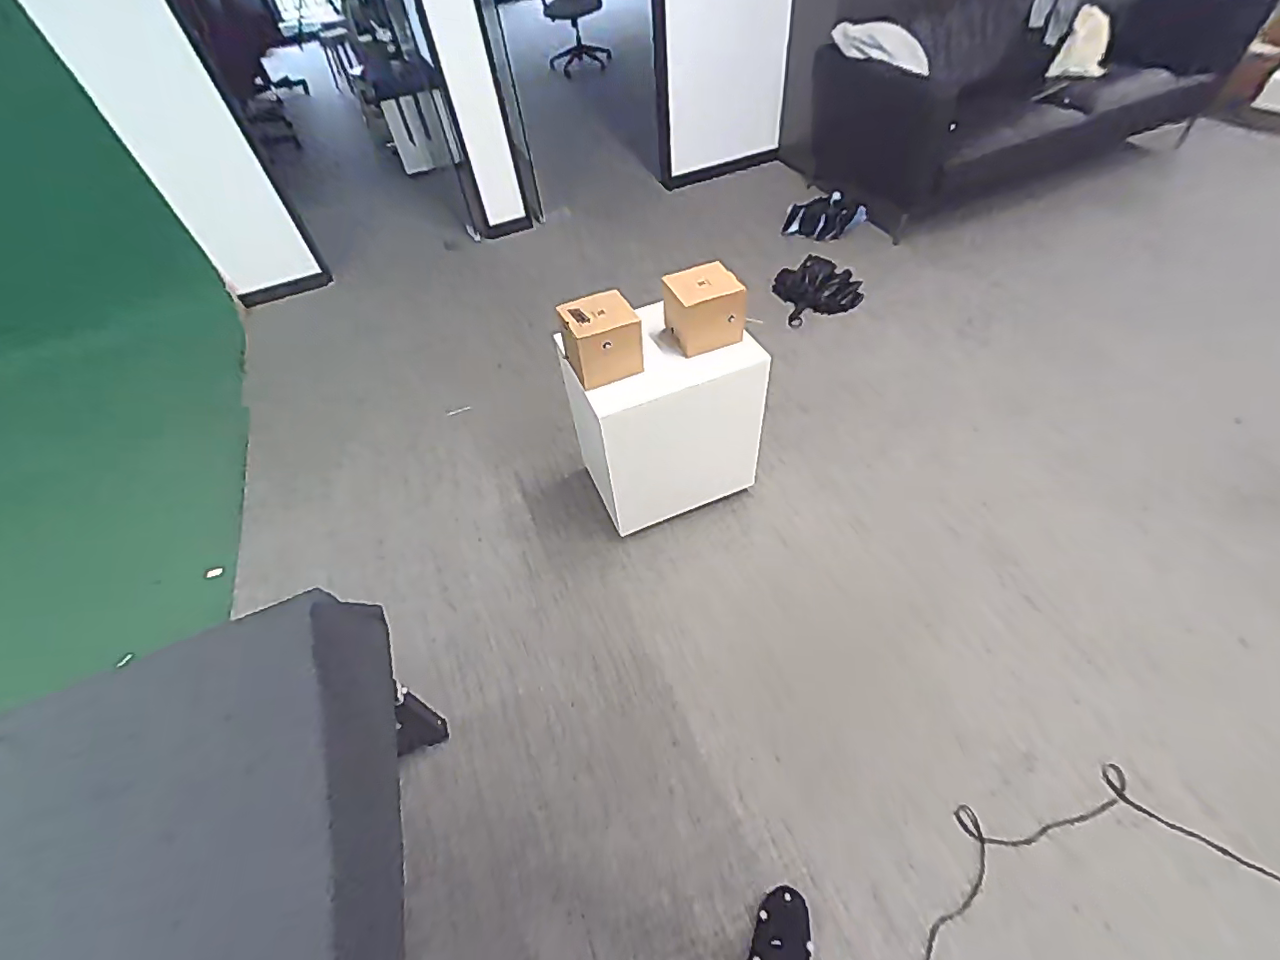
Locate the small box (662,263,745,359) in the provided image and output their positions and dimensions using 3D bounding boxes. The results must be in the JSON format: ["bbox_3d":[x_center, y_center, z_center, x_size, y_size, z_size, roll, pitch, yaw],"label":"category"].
[{"bbox_3d":[0.172,-0.465,1.492,0.179,0.176,0.168,-20,51,-9],"label":"small box"}]

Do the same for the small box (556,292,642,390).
[{"bbox_3d":[-0.105,-0.367,1.438,0.179,0.176,0.168,-21,52,-13],"label":"small box"}]
